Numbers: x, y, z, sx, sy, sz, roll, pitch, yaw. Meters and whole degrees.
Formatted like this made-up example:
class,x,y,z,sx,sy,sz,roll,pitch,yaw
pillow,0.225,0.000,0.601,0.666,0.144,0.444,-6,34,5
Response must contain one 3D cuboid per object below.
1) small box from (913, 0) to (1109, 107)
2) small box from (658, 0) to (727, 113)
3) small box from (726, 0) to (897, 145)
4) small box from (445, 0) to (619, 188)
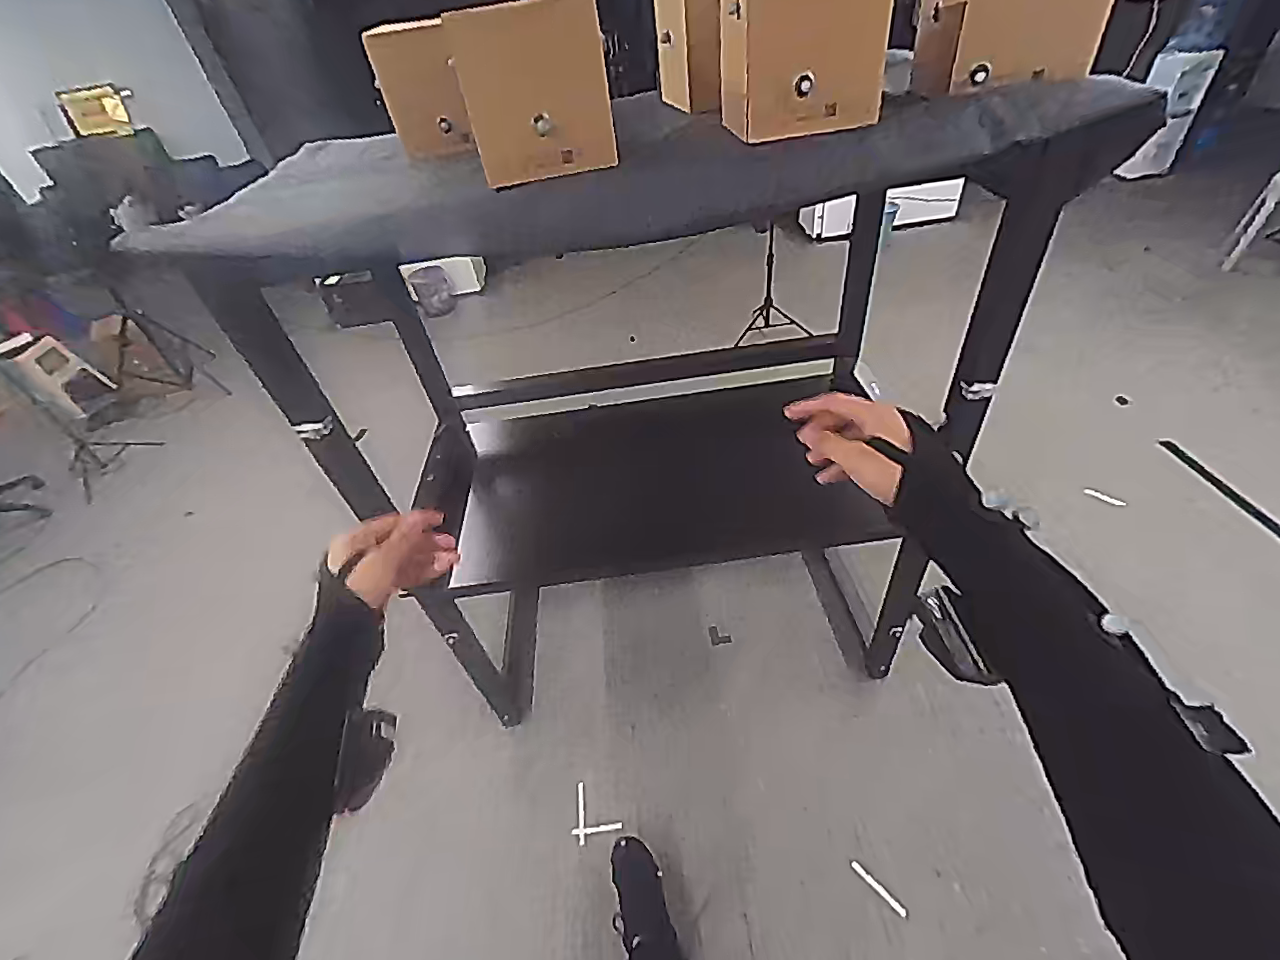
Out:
class,x,y,z,sx,sy,sz,roll,pitch,yaw
small box,0.475,-0.600,0.699,0.168,0.176,0.179,-2,41,8
small box,0.132,-0.736,0.912,0.168,0.176,0.179,-15,42,-5
small box,0.204,-0.544,0.692,0.168,0.176,0.179,-8,41,2
small box,-0.127,-0.482,0.680,0.168,0.176,0.179,-12,40,-2
